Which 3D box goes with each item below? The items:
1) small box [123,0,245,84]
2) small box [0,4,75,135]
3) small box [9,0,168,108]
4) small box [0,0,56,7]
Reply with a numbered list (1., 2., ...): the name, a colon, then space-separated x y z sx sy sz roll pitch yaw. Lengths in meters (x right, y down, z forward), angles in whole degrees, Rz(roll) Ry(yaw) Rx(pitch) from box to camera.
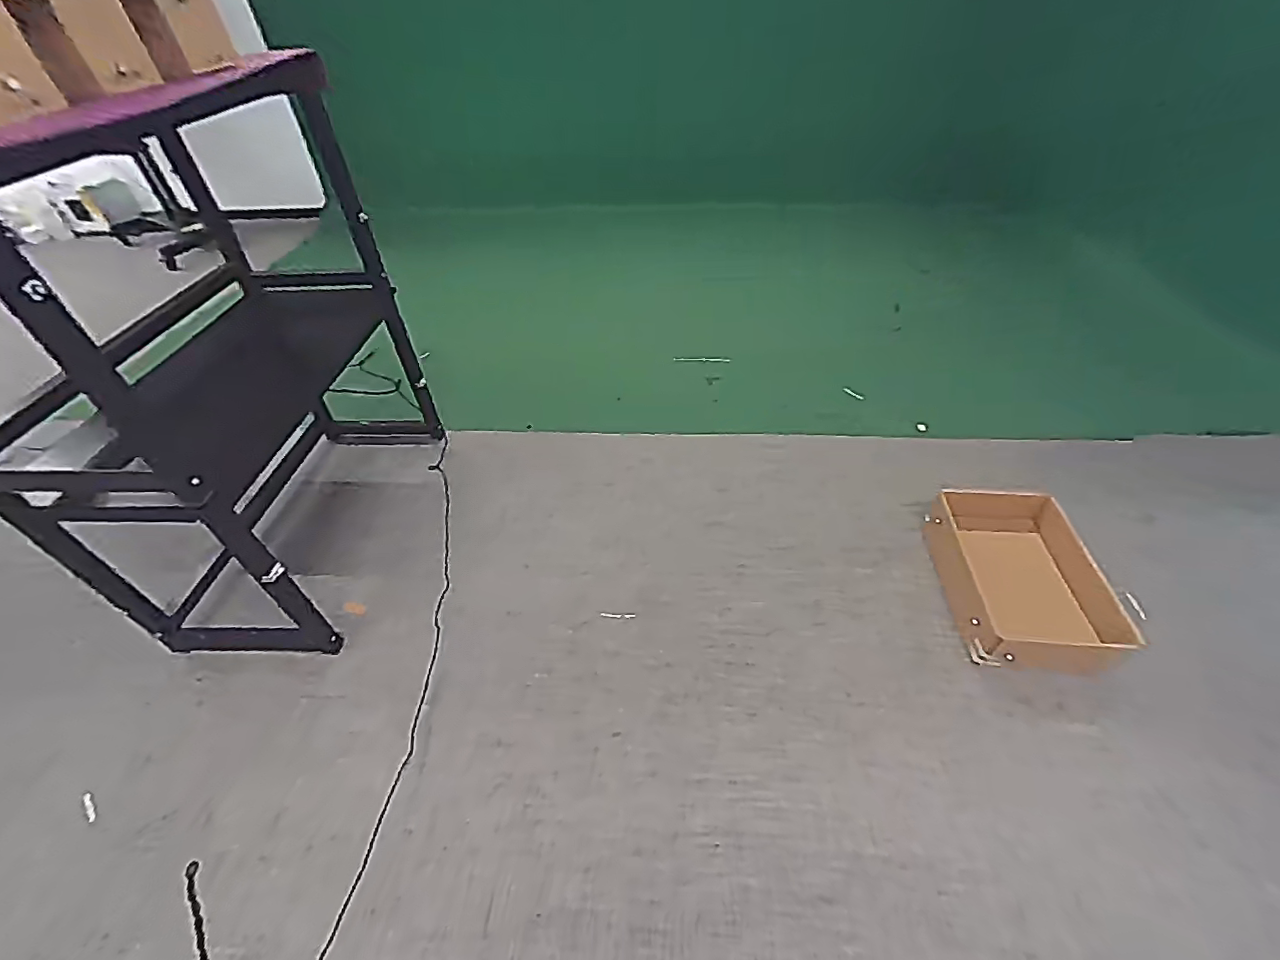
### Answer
1. small box: -1.162 -1.112 1.358 0.179 0.176 0.168 5 46 11
2. small box: -1.178 -0.706 0.938 0.179 0.176 0.168 -1 44 4
3. small box: -1.183 -0.906 1.149 0.179 0.176 0.168 2 45 6
4. small box: -1.191 -0.918 0.927 0.179 0.176 0.168 -3 43 3
